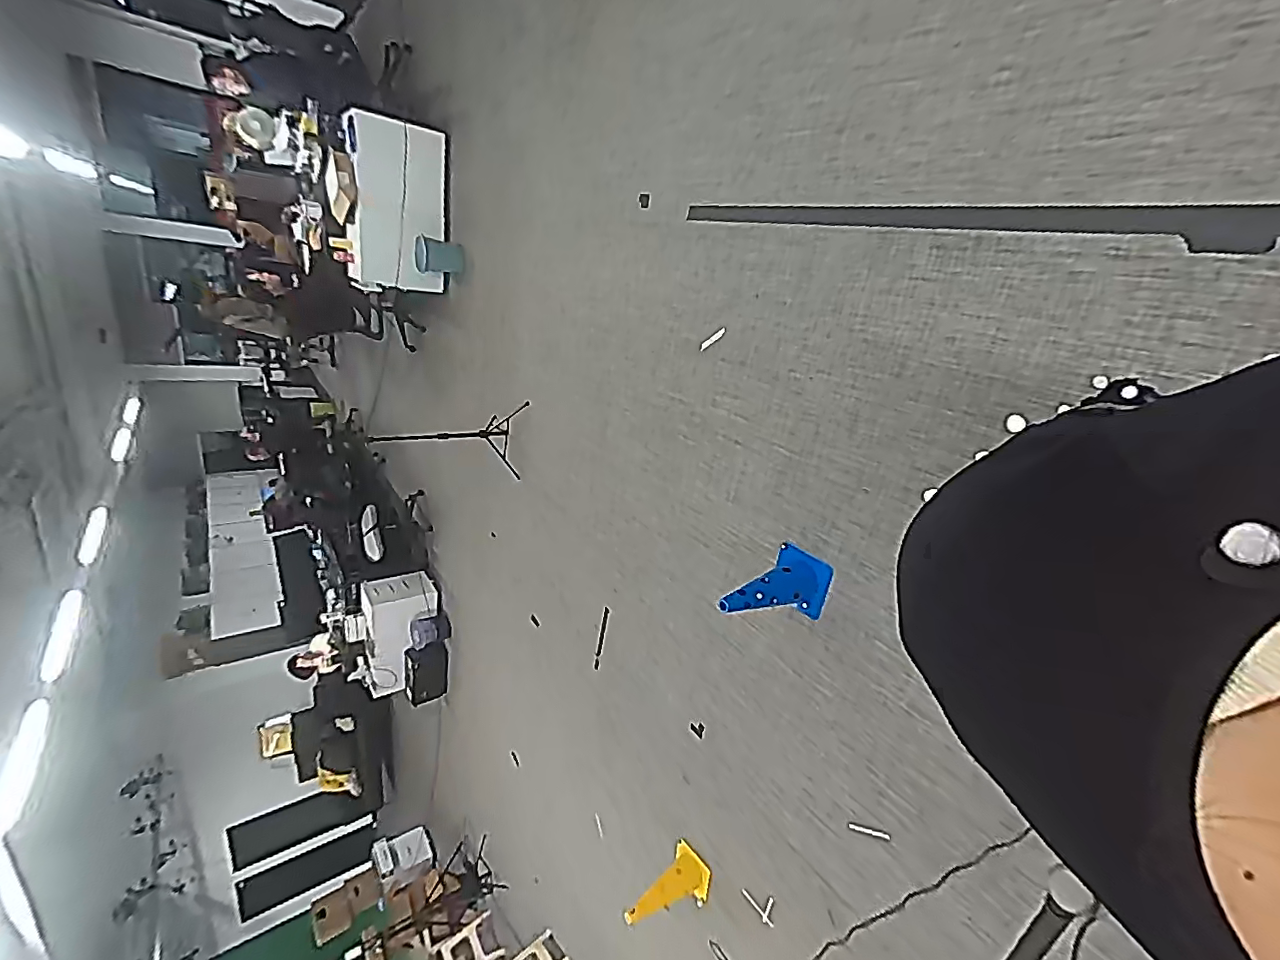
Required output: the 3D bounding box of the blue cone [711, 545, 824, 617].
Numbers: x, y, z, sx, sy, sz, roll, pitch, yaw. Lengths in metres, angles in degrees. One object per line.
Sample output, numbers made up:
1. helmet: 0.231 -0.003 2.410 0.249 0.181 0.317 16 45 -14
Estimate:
1. blue cone: 0.371 0.341 1.648 0.192 0.380 0.193 35 123 46
